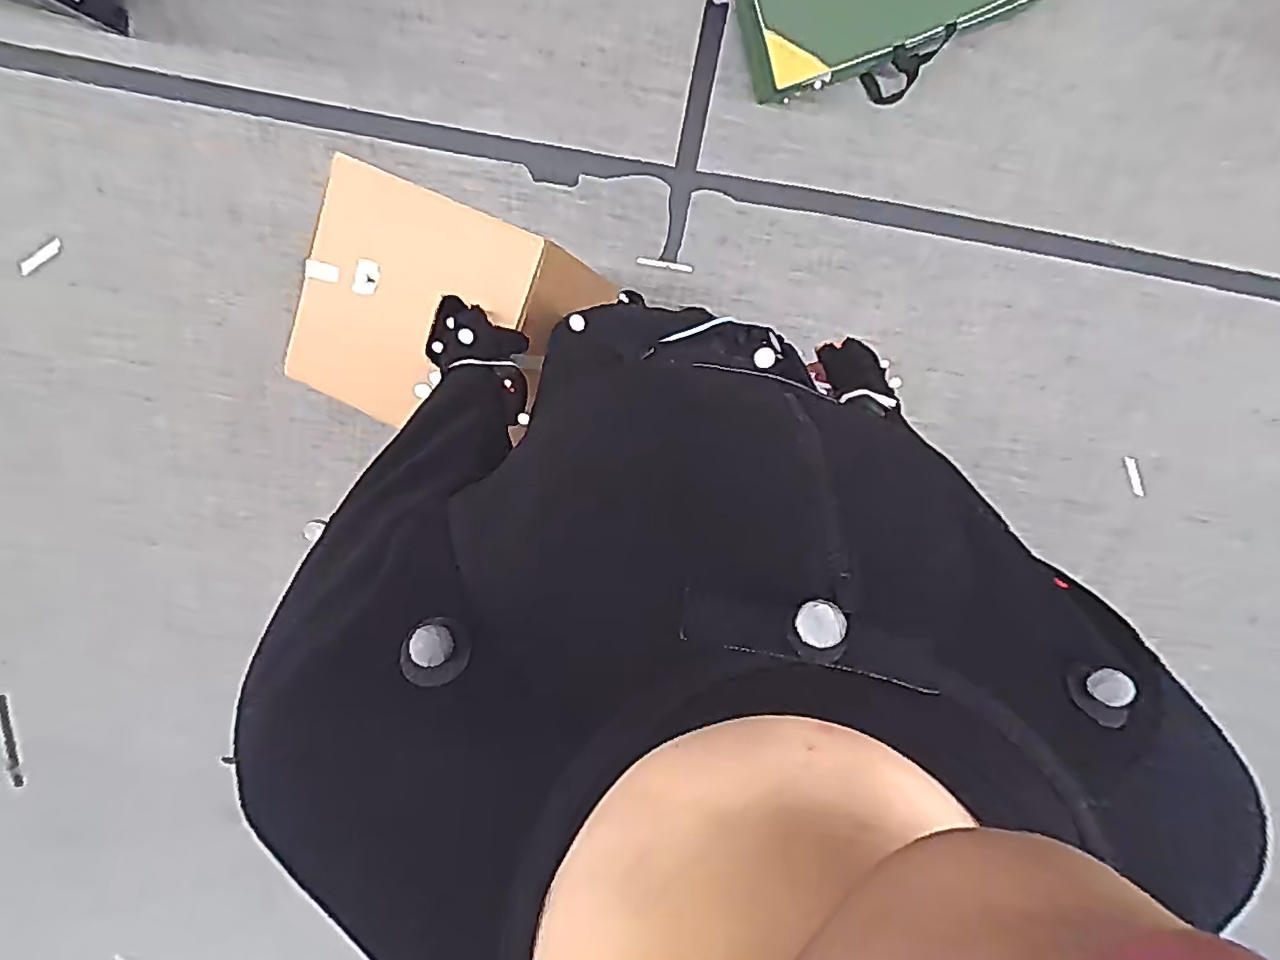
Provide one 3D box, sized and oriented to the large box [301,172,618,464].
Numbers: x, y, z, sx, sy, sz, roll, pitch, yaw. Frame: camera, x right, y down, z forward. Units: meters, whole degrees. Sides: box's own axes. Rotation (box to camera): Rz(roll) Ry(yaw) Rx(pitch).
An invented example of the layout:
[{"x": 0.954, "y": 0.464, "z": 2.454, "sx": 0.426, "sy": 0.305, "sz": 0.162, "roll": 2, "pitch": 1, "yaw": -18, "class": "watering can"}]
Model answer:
[{"x": -0.273, "y": -0.256, "z": 0.923, "sx": 0.320, "sy": 0.408, "sz": 0.320, "roll": 26, "pitch": 104, "yaw": 5, "class": "large box"}]
